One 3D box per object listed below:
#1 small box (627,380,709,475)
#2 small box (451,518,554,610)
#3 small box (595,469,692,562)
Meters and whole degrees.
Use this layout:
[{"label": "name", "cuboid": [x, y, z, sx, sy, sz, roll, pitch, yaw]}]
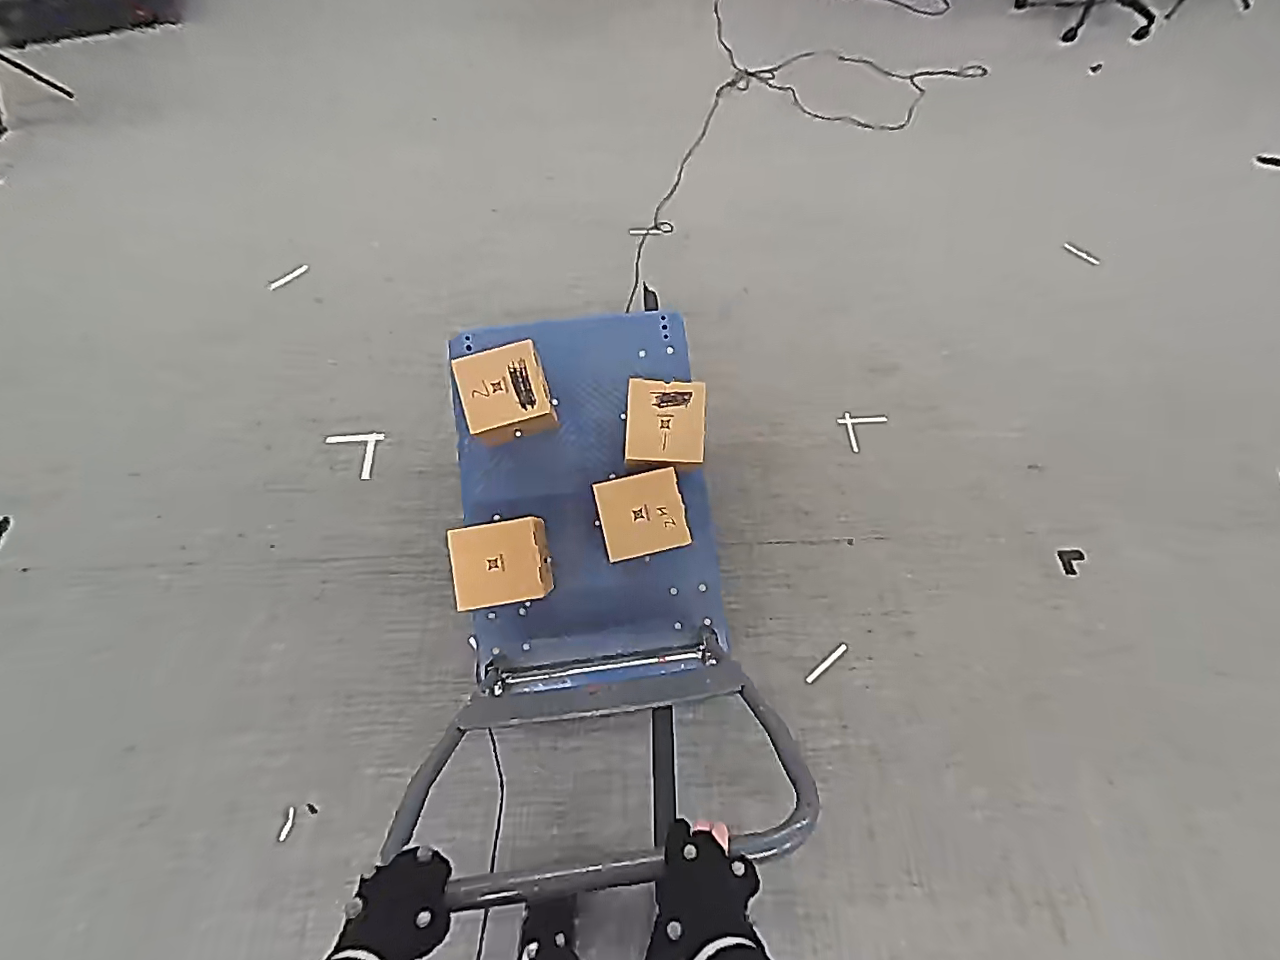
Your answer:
[{"label": "small box", "cuboid": [0.057, -0.112, 1.216, 0.168, 0.176, 0.179, 3, 84, -1]}, {"label": "small box", "cuboid": [-0.291, 0.180, 1.172, 0.179, 0.176, 0.168, -9, 84, -5]}, {"label": "small box", "cuboid": [0.006, 0.083, 1.192, 0.179, 0.176, 0.168, -13, 85, -3]}]
